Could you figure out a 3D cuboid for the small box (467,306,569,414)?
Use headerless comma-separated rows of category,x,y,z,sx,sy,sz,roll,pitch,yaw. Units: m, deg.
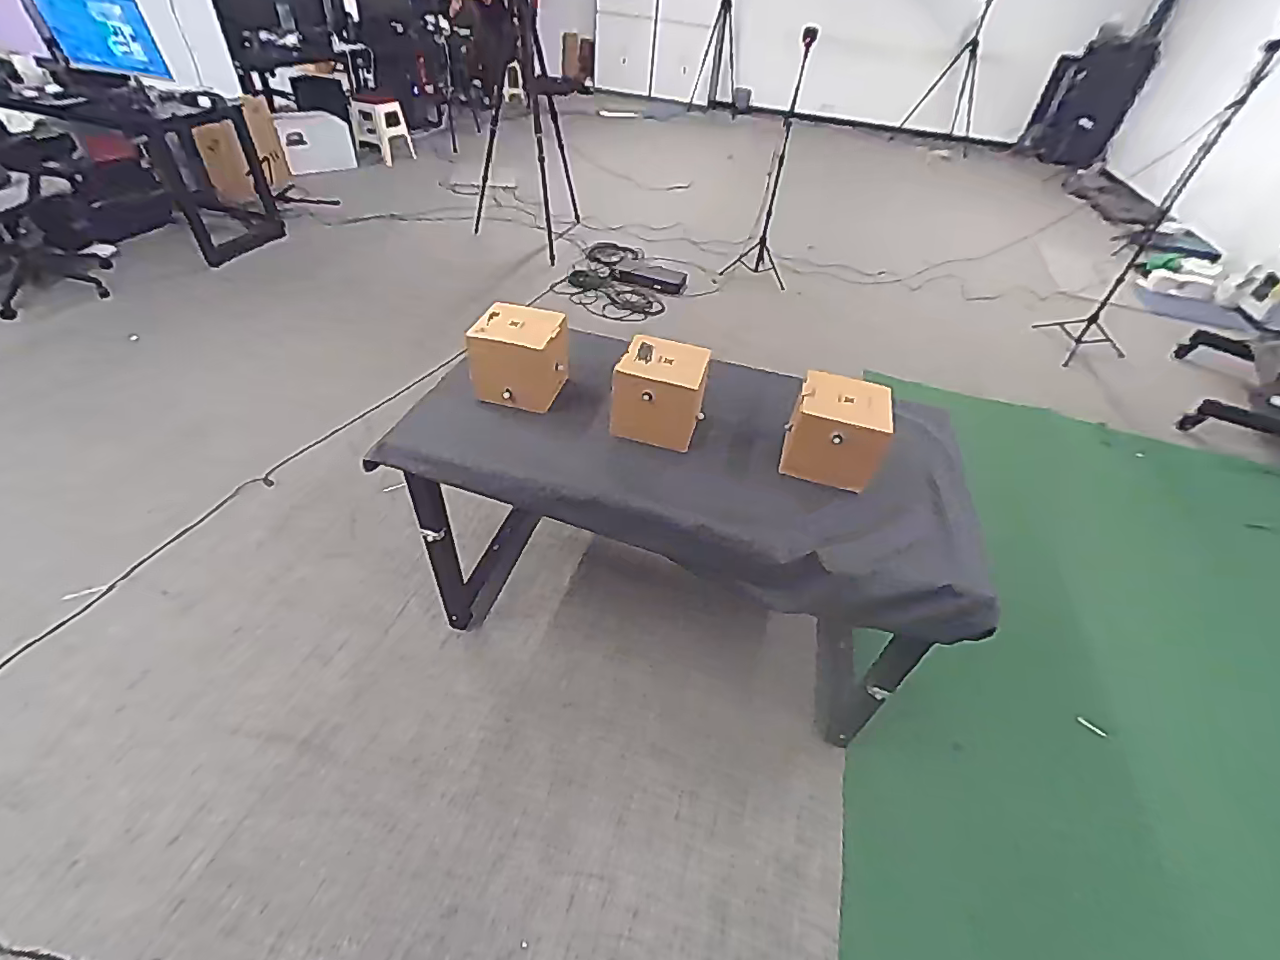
small box,-0.273,-0.274,1.247,0.179,0.176,0.168,13,43,6

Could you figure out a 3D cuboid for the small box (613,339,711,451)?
small box,0.045,-0.185,1.191,0.179,0.176,0.168,15,44,8

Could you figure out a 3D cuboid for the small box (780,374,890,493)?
small box,0.405,-0.096,1.143,0.179,0.176,0.168,16,45,9
